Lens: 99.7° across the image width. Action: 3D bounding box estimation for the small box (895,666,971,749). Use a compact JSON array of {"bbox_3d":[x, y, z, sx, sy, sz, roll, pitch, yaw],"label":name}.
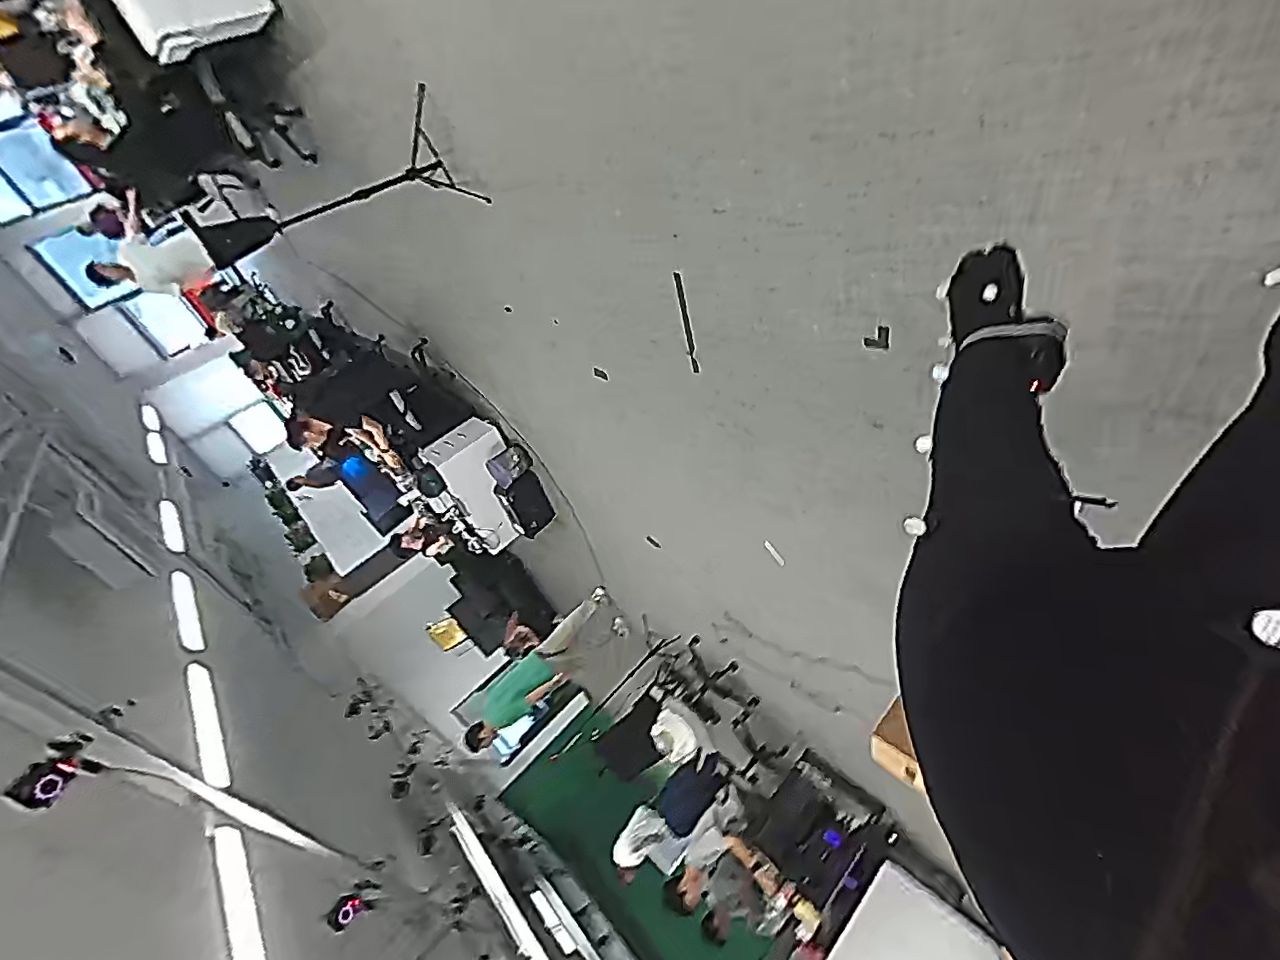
[{"bbox_3d":[1.006,0.774,1.864,0.179,0.176,0.168,25,146,44],"label":"small box"}]
